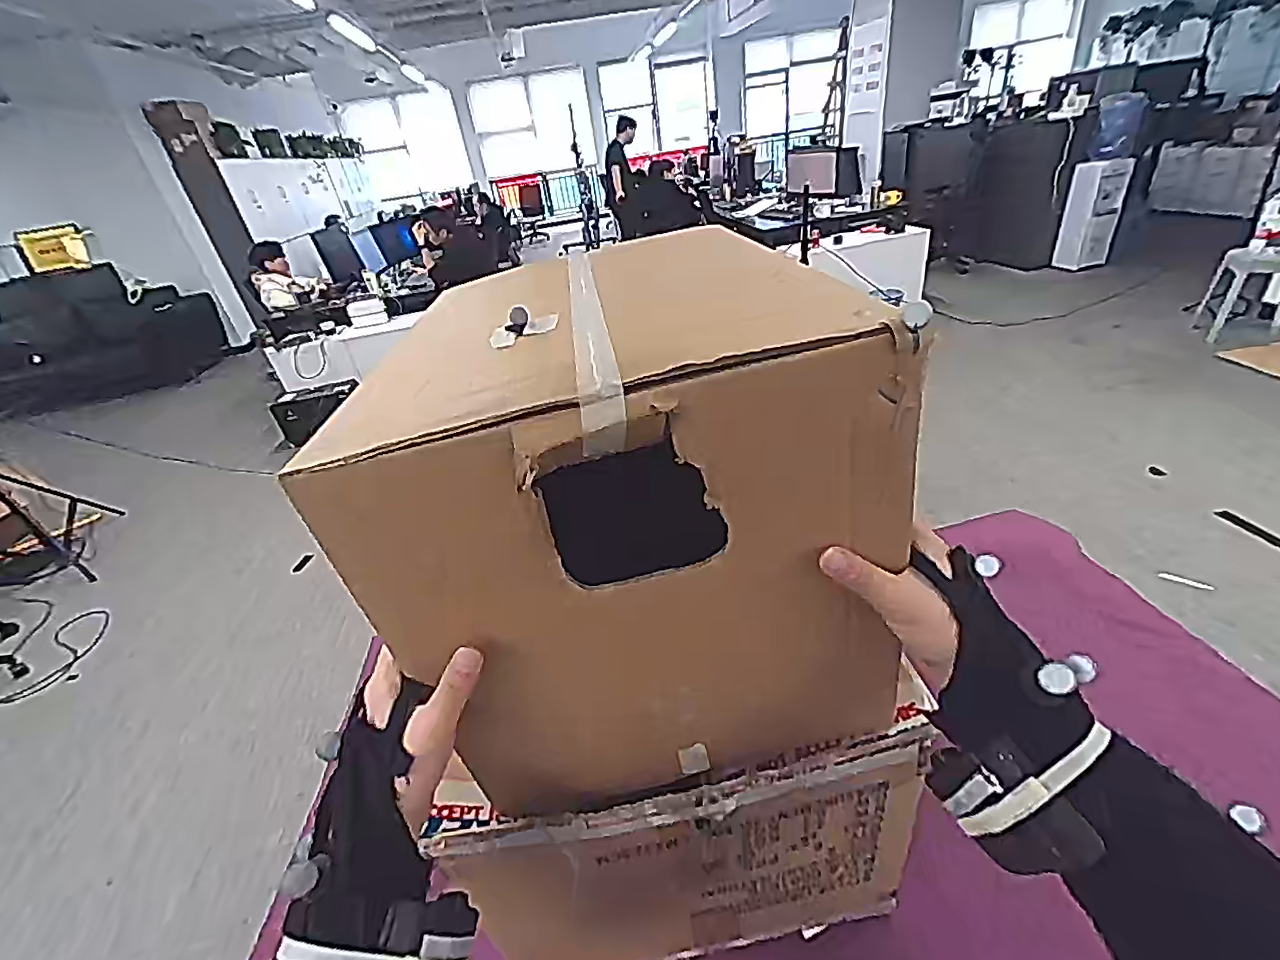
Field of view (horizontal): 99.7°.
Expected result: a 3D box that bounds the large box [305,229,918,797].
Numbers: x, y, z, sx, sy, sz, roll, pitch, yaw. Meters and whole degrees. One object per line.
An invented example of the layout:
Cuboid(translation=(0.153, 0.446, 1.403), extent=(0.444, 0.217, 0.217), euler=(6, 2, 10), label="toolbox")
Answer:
Cuboid(translation=(-0.012, -0.013, 0.502), extent=(0.320, 0.320, 0.408), euler=(-15, 32, 0), label="large box")
